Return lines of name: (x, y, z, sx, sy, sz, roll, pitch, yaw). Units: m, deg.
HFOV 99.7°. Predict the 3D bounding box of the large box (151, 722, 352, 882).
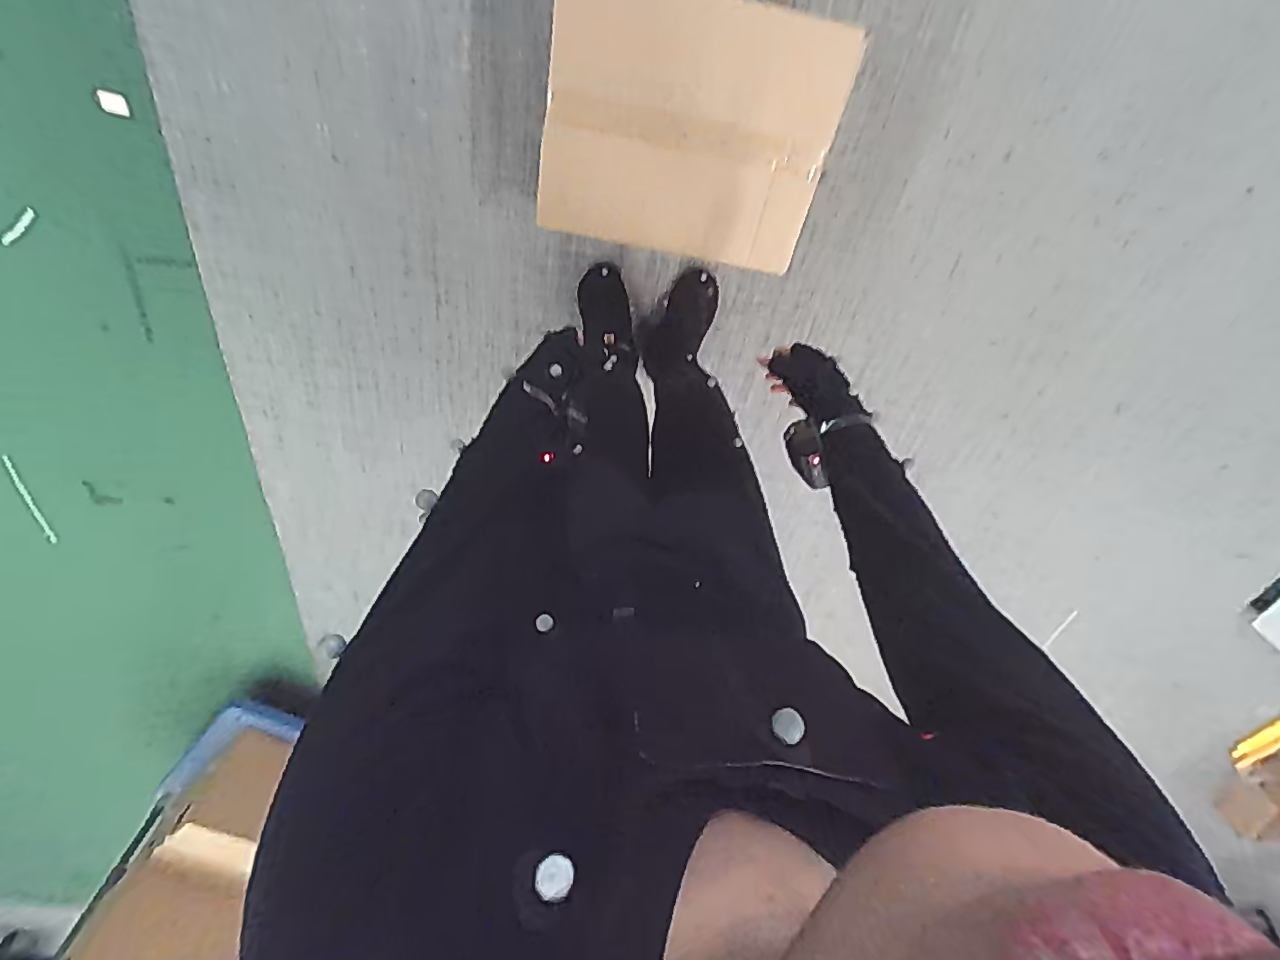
large box: (-1.293, 1.091, 1.833, 0.320, 0.320, 0.408, -39, 117, 24)
